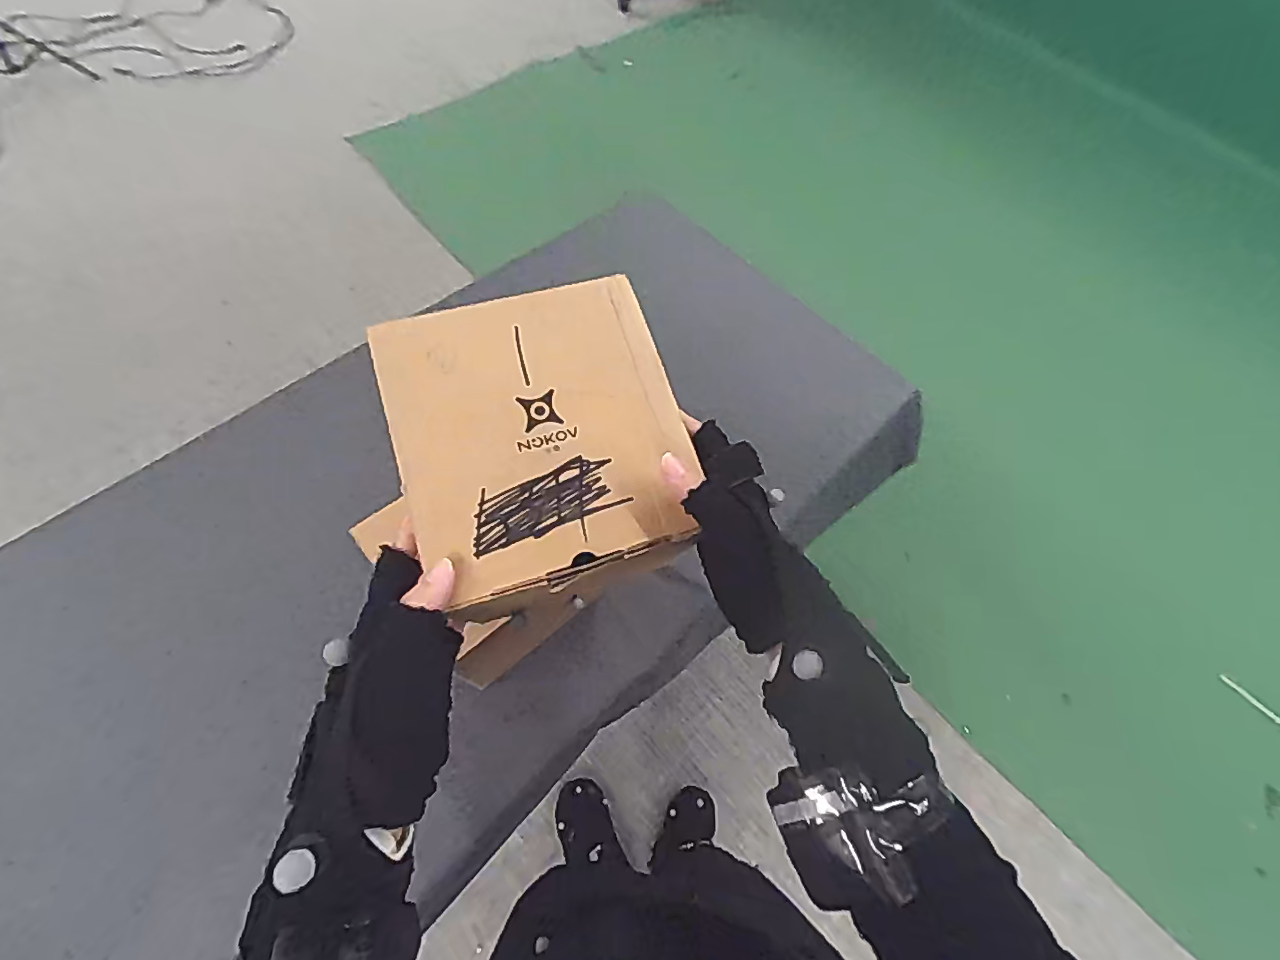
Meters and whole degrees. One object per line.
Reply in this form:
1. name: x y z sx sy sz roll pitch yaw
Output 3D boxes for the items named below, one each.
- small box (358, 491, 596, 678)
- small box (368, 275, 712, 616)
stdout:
1. small box: -0.159 0.089 0.590 0.179 0.176 0.168 -37 71 -20
2. small box: -0.068 -0.012 0.399 0.168 0.176 0.179 -19 79 -12
